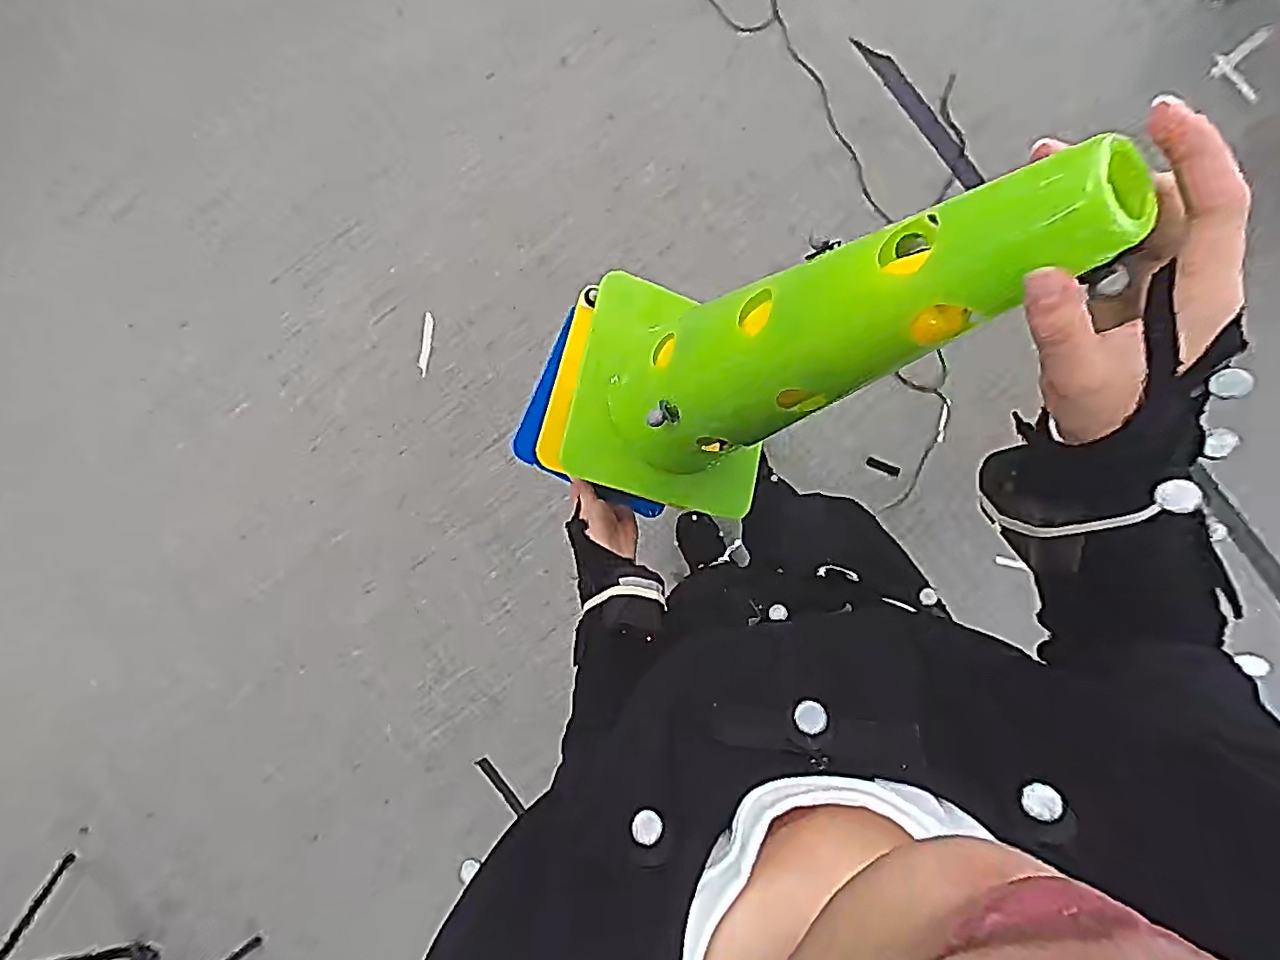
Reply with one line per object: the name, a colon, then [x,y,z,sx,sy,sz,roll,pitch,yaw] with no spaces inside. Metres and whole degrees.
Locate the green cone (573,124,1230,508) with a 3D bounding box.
green cone: [0.113,-0.096,0.344,0.200,0.368,0.202,16,81,-21]
